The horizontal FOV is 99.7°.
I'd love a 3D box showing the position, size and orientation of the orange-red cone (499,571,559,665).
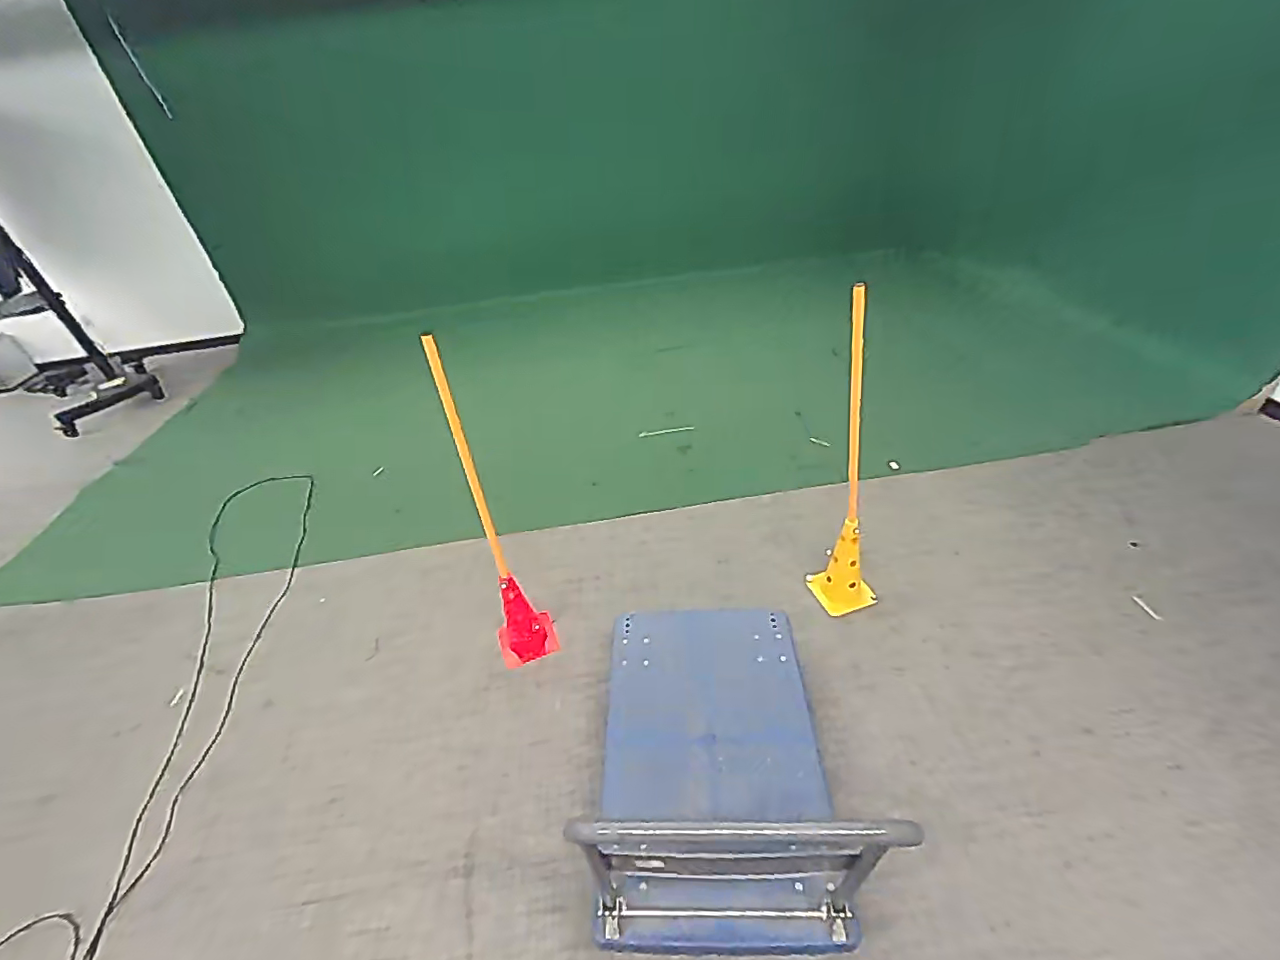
[{"bbox_3d":[-0.433,0.453,1.907,0.199,0.360,0.198,-19,39,-12],"label":"orange-red cone"}]
